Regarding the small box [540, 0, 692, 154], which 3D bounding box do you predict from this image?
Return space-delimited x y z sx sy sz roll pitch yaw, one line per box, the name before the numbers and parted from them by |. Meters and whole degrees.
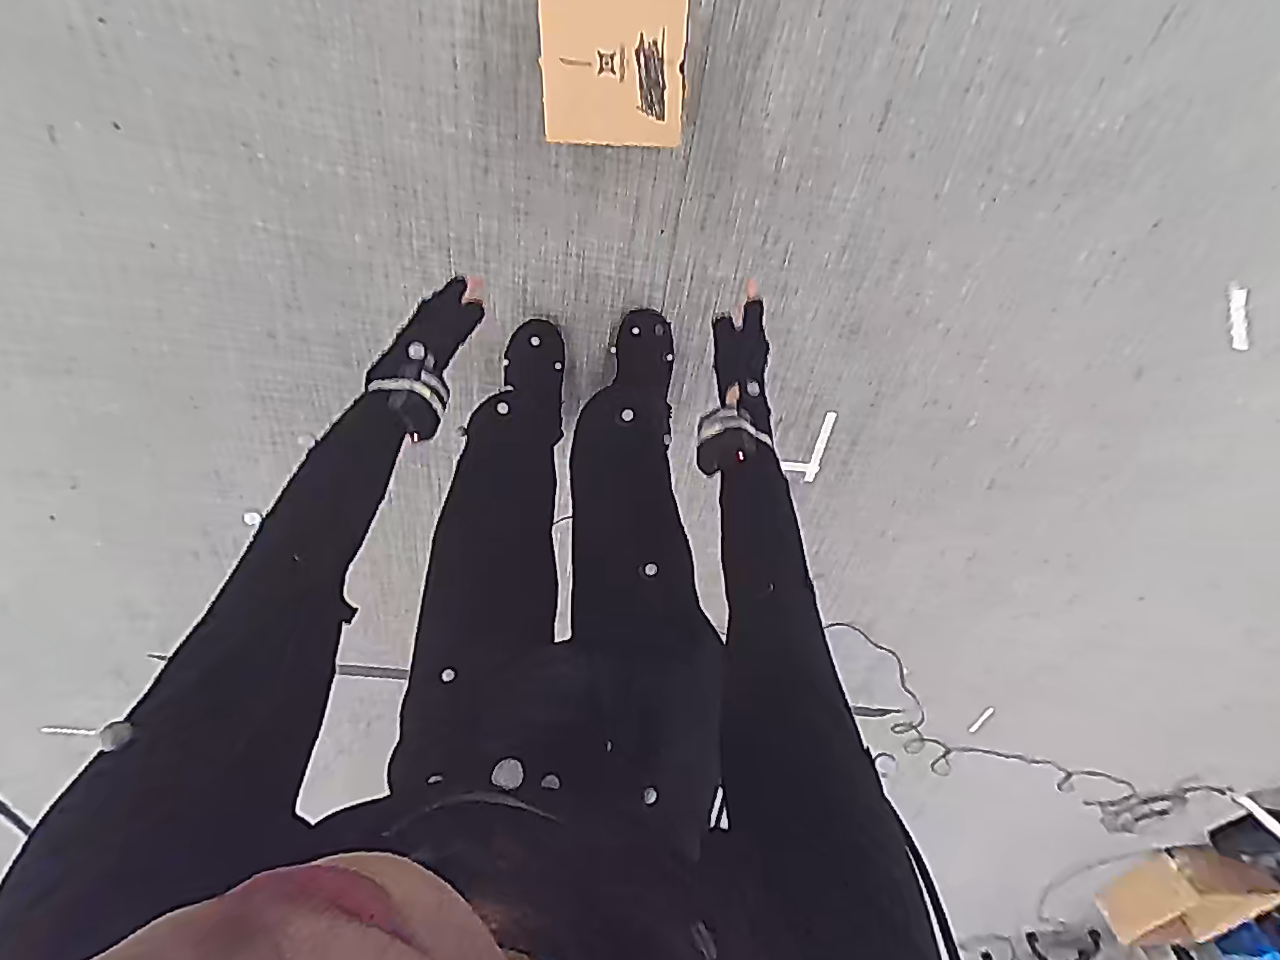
small box | -0.033 -0.537 0.715 0.179 0.176 0.168 2 124 -2
